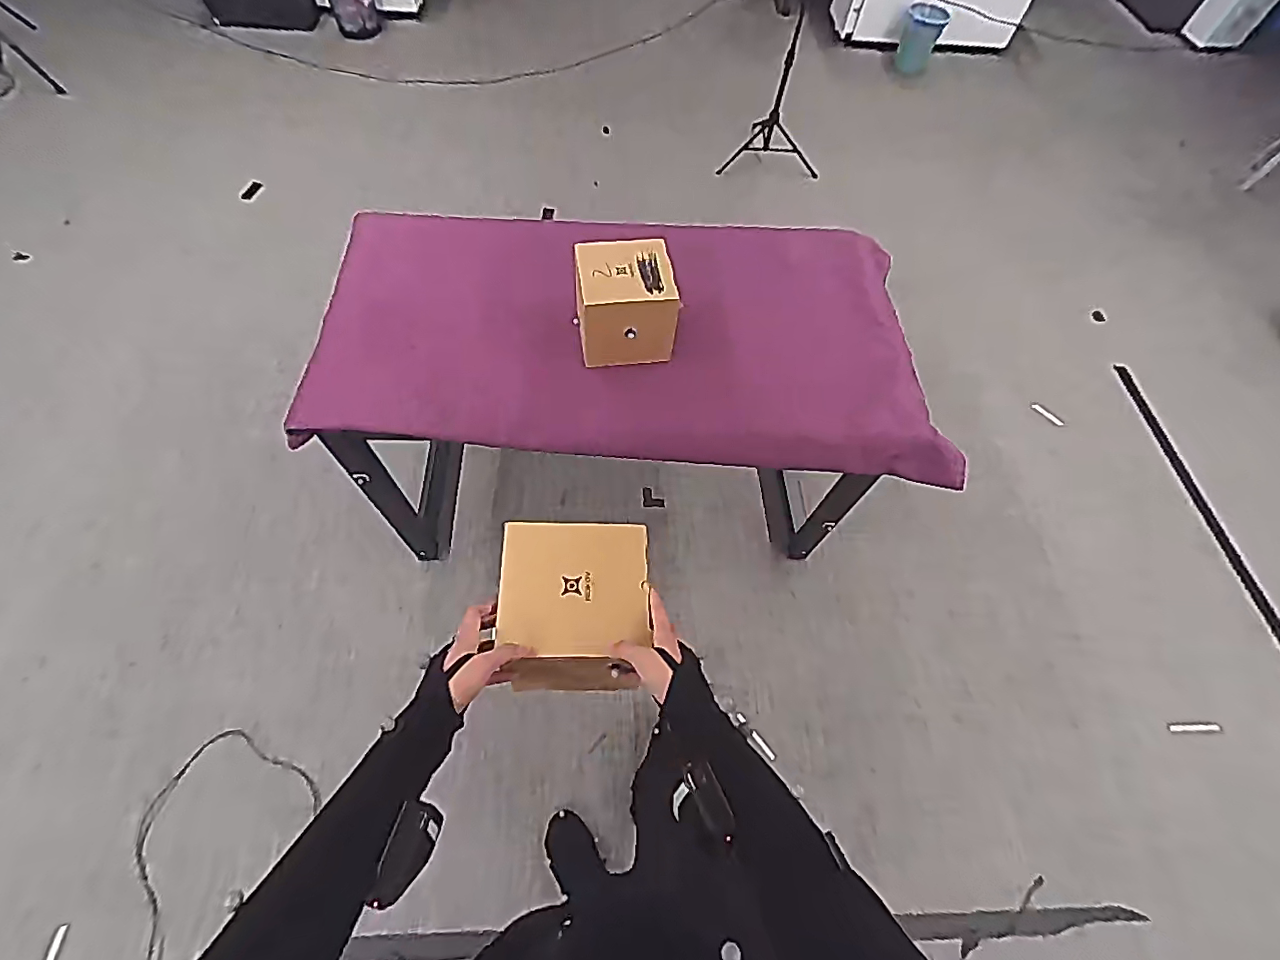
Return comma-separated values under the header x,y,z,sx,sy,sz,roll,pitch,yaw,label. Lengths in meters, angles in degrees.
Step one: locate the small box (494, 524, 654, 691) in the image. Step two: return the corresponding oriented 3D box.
x,y,z,sx,sy,sz,roll,pitch,yaw,label
-0.083,0.169,0.696,0.179,0.176,0.168,2,57,-8,small box
